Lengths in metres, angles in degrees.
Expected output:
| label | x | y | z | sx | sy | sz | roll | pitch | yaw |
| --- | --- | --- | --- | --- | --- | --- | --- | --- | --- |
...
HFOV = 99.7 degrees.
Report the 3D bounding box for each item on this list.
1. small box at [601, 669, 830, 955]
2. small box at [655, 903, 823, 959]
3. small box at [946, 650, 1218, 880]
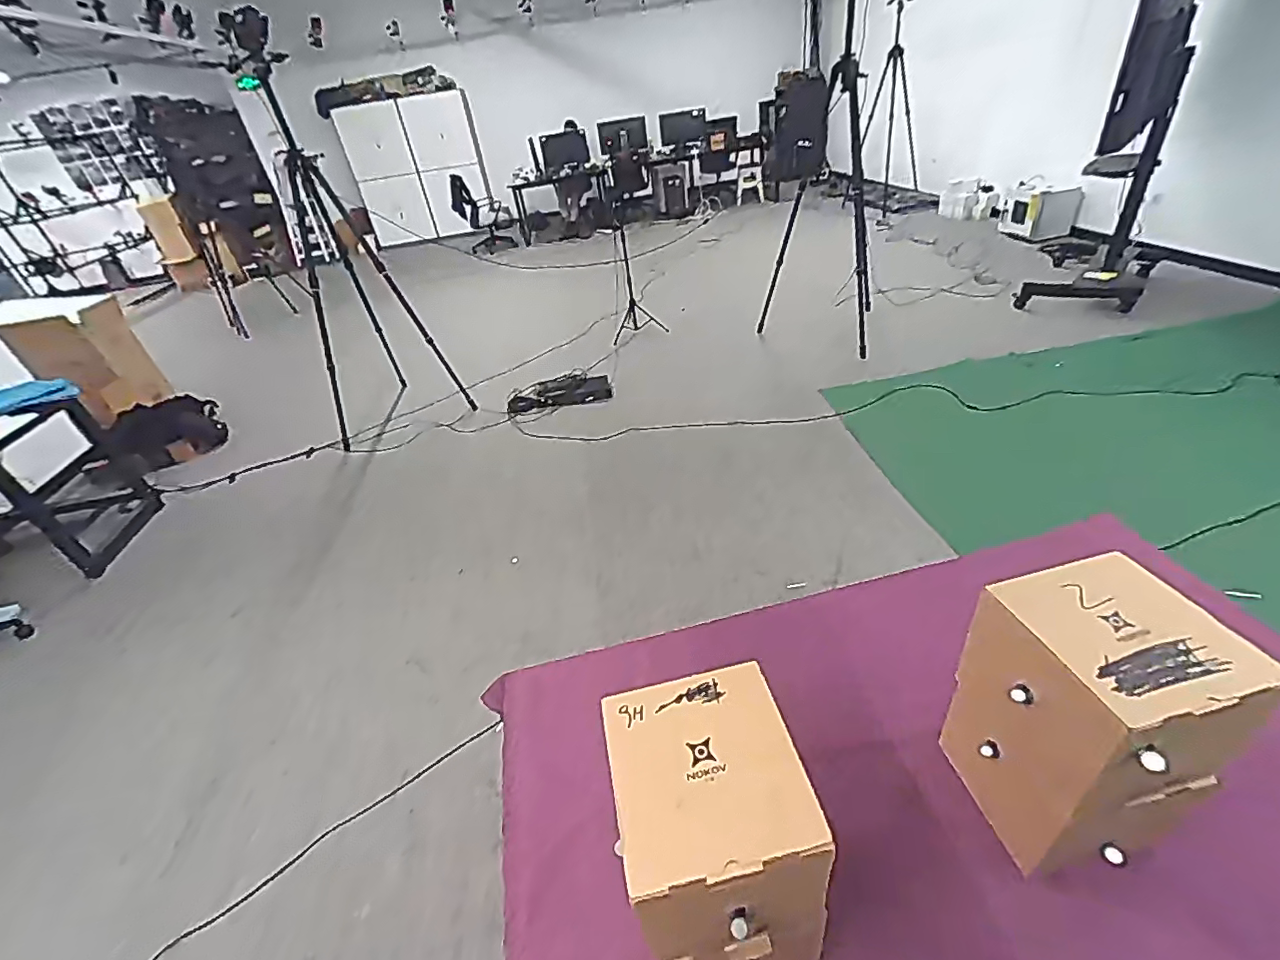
| label | x | y | z | sx | sy | sz | roll | pitch | yaw |
| --- | --- | --- | --- | --- | --- | --- | --- | --- | --- |
| small box | 0.065 | 0.321 | 0.522 | 0.168 | 0.176 | 0.179 | -12 | 36 | -4 |
| small box | 0.092 | 0.453 | 0.617 | 0.168 | 0.176 | 0.179 | -13 | 34 | -5 |
| small box | 0.510 | 0.344 | 0.662 | 0.168 | 0.176 | 0.179 | -13 | 36 | -2 |
